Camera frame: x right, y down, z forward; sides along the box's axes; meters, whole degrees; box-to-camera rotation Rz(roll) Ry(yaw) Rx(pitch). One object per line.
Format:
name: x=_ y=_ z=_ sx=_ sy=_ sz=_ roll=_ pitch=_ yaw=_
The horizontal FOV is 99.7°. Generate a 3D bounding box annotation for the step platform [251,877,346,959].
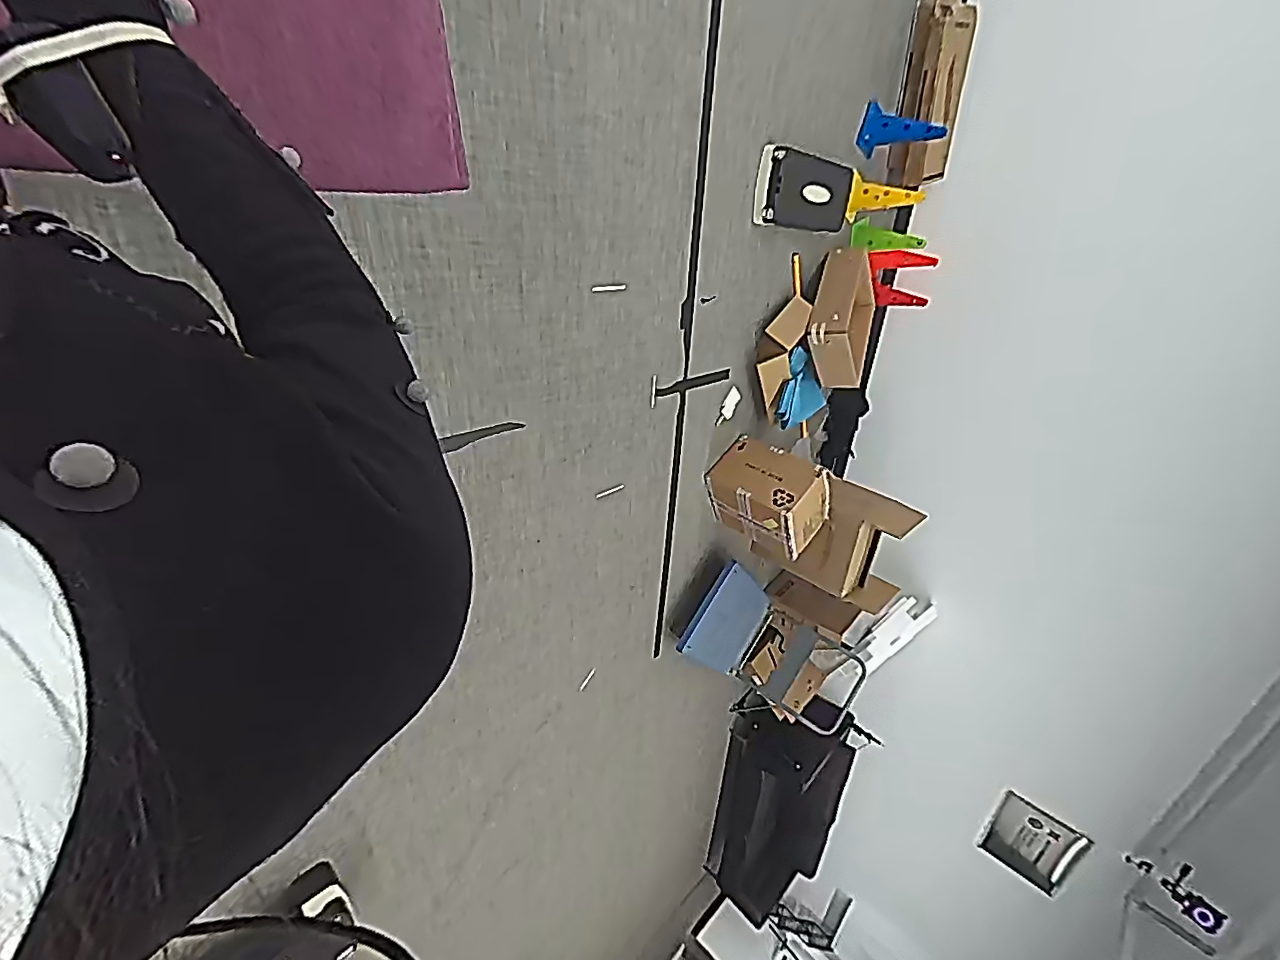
step platform: x=-1.258 y=1.564 z=1.597 sx=0.684 sy=0.204 sz=0.286 roll=-24 pitch=129 yaw=-43
